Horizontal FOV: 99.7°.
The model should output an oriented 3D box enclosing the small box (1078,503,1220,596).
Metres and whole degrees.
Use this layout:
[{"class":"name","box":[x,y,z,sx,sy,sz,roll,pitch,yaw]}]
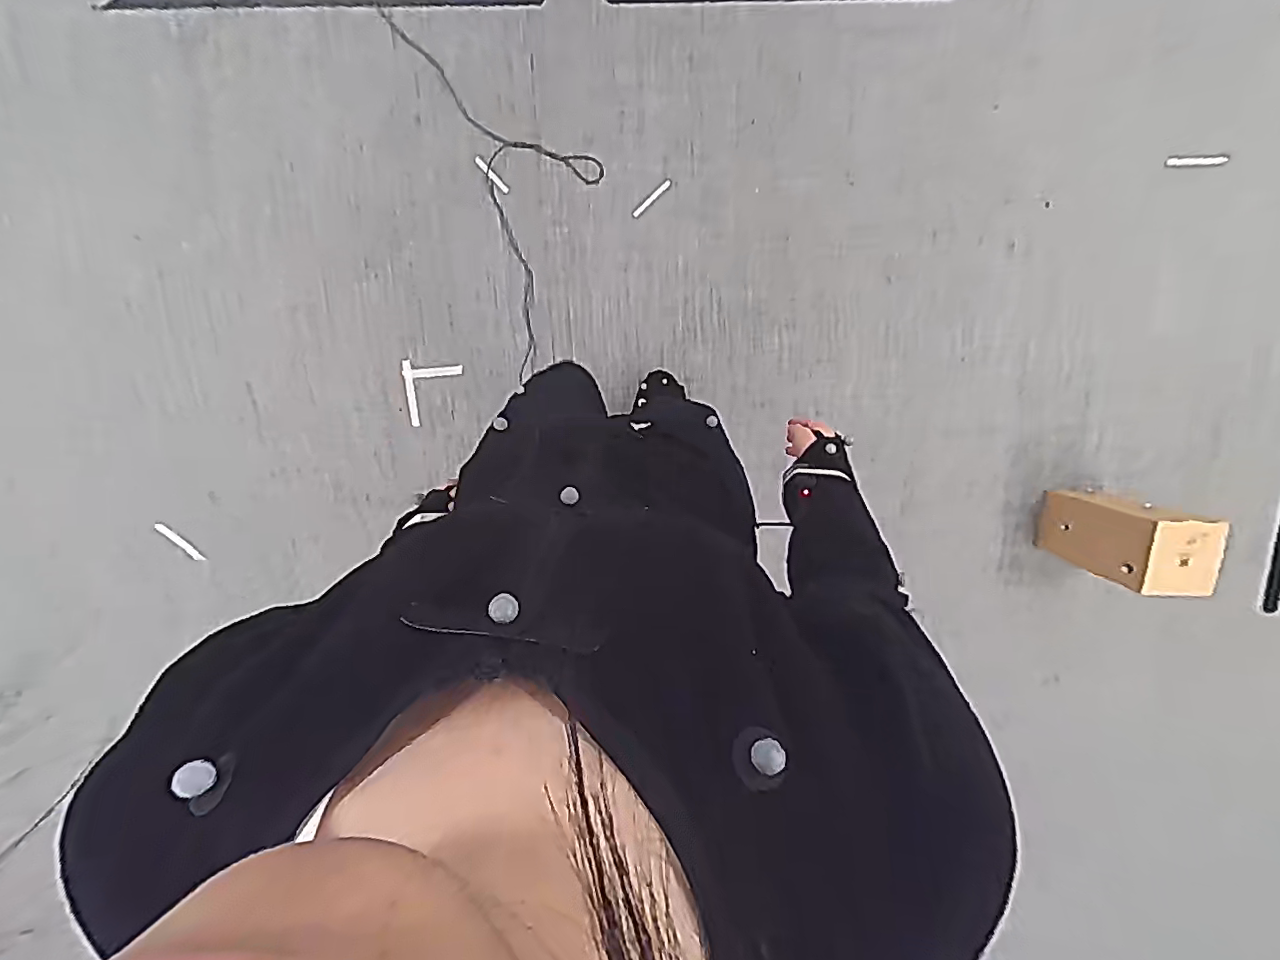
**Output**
[{"class":"small box","box":[1.201,0.162,1.292,0.168,0.176,0.179,2,101,-2]}]
